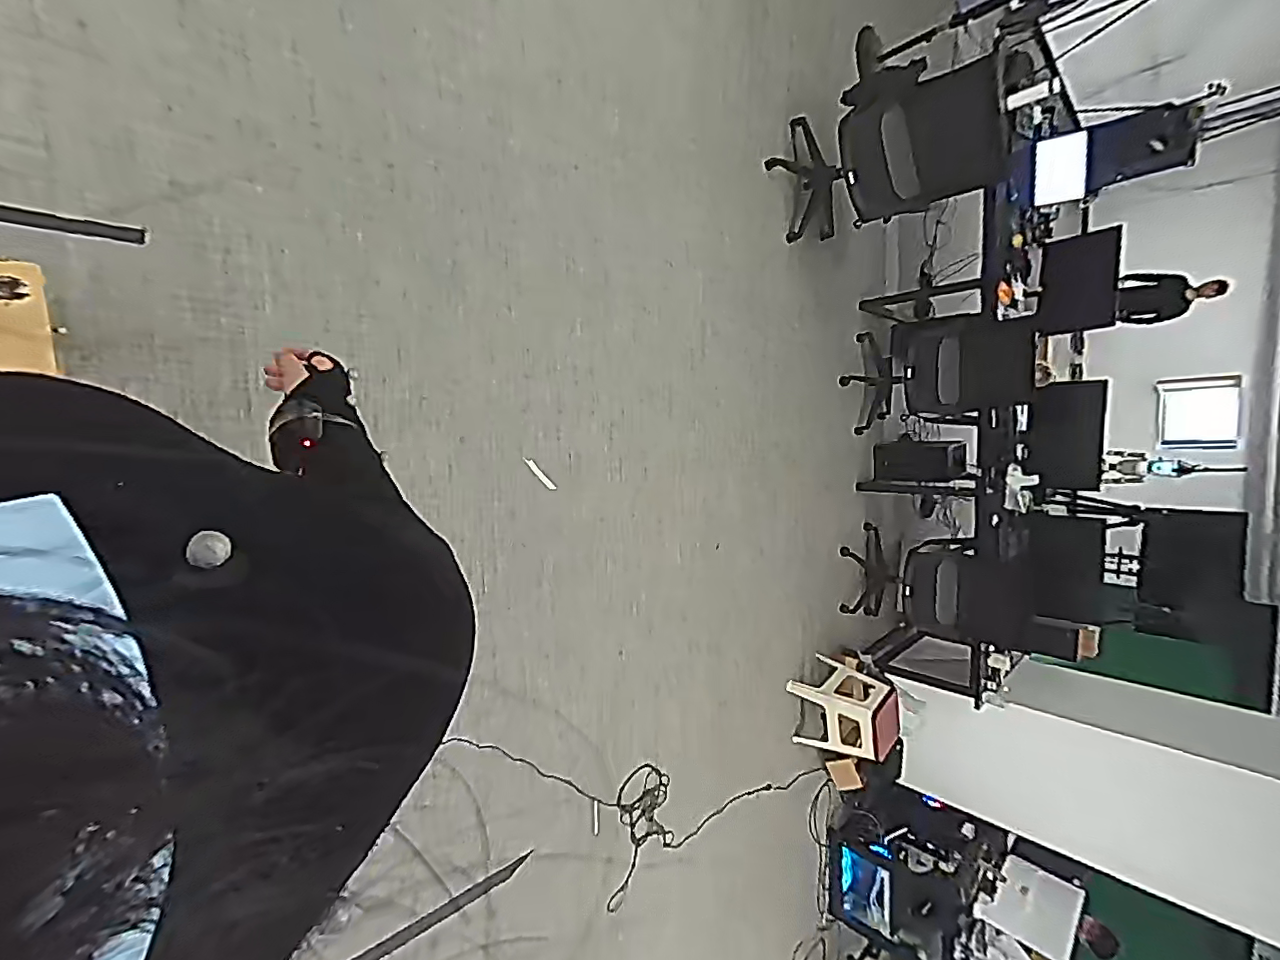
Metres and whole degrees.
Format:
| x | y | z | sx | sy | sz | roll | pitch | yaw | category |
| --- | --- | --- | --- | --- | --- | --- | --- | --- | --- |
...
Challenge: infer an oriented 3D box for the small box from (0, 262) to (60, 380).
| x | y | z | sx | sy | sz | roll | pitch | yaw | category |
| --- | --- | --- | --- | --- | --- | --- | --- | --- | --- |
| -1.122 | -0.266 | 0.915 | 0.168 | 0.176 | 0.179 | -12 | 101 | -44 | small box |
